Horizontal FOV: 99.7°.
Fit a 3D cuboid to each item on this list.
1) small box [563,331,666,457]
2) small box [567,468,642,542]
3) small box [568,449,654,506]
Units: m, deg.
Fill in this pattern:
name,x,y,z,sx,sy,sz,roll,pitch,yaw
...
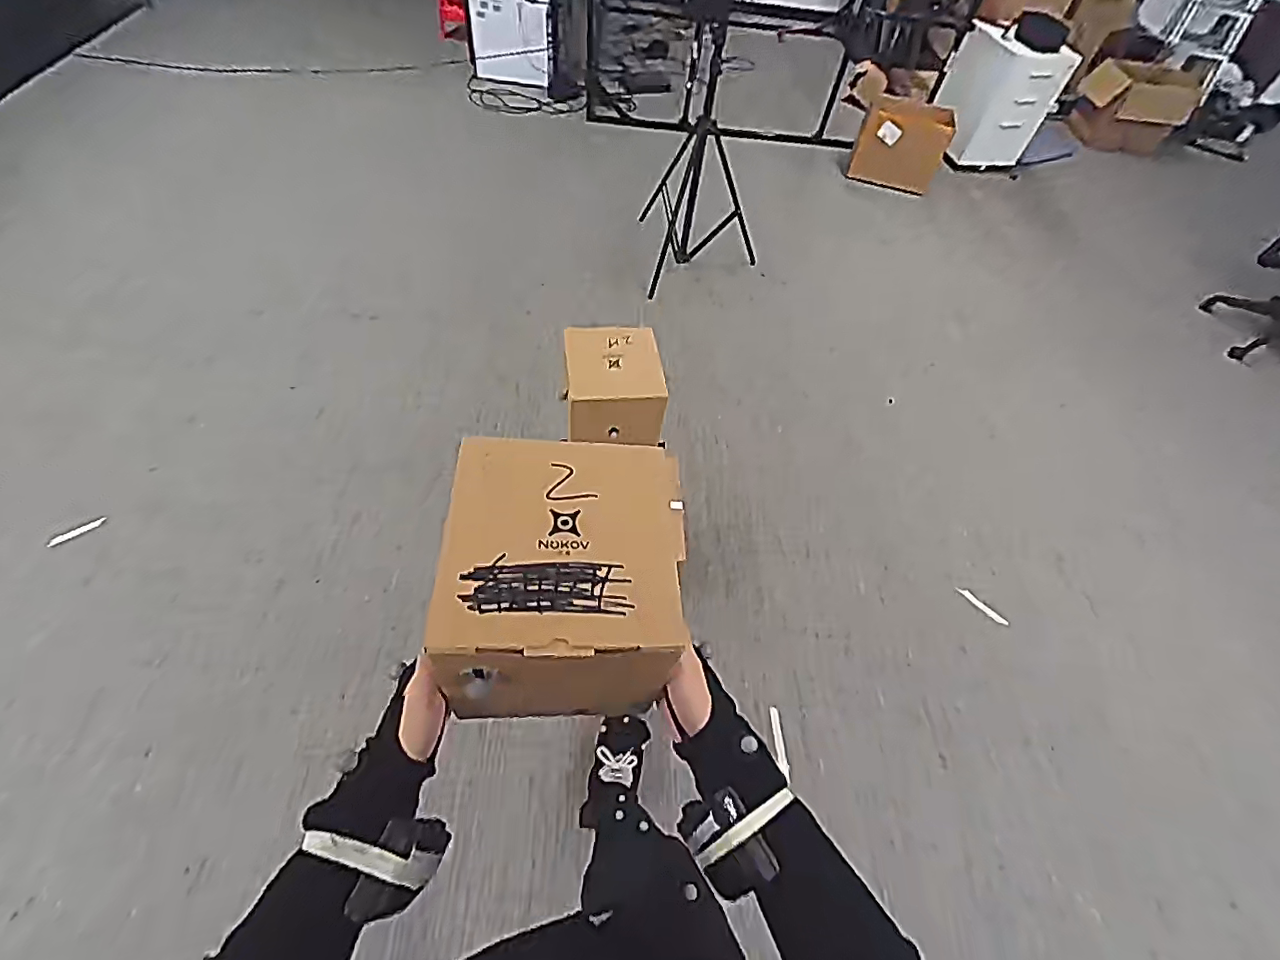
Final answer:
name,x,y,z,sx,sy,sz,roll,pitch,yaw
small box,-0.054,-0.153,1.002,0.168,0.176,0.179,-4,56,-11
small box,-0.087,0.030,1.271,0.168,0.176,0.179,0,56,-6
small box,-0.067,-0.057,1.135,0.168,0.176,0.179,0,55,-8
